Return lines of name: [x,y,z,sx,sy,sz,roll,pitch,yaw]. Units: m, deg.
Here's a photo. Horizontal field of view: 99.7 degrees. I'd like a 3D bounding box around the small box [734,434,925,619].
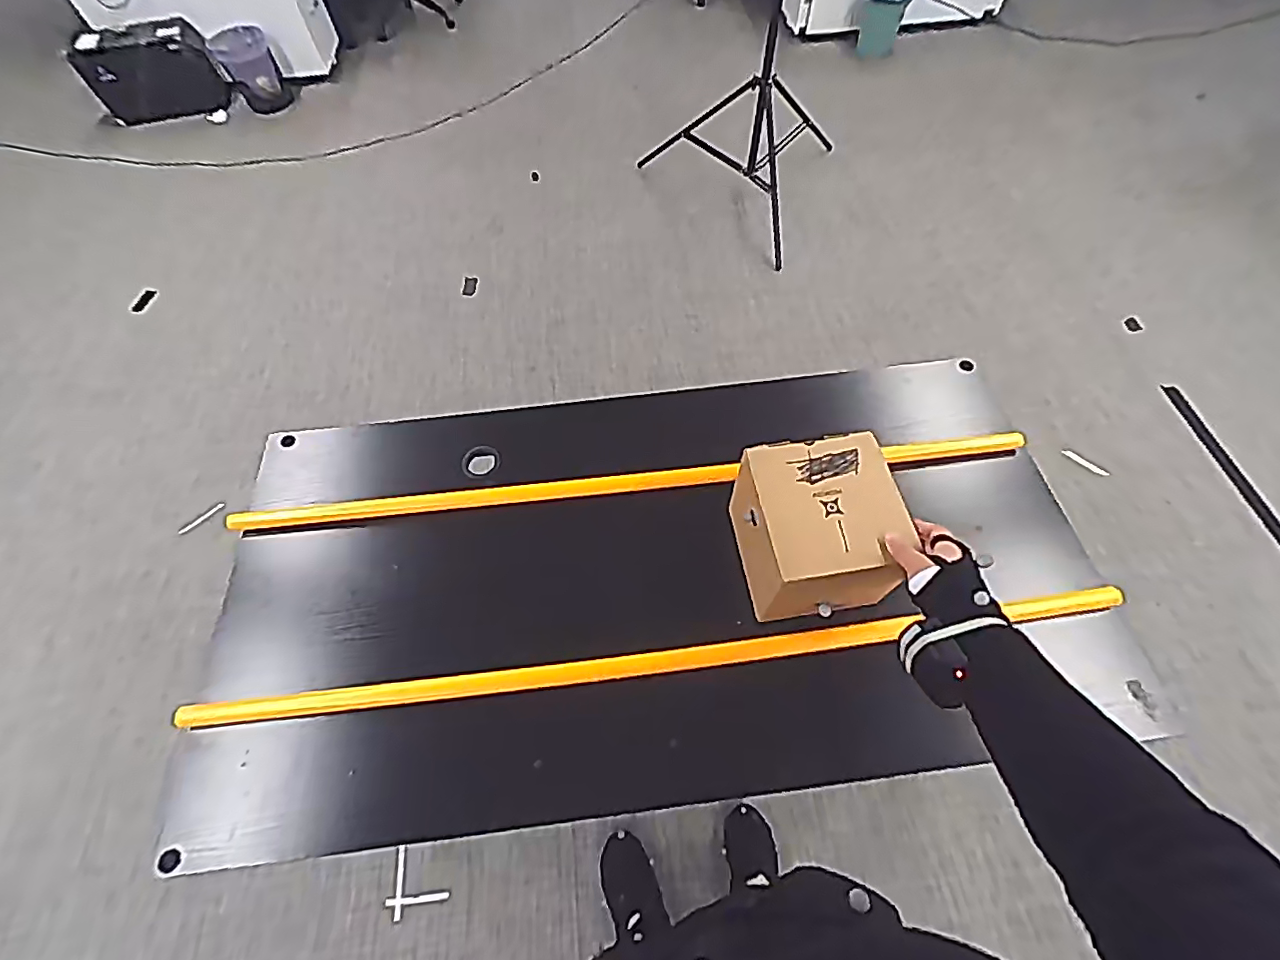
small box: [0.225,0.065,0.703,0.168,0.176,0.179,-8,61,-2]
